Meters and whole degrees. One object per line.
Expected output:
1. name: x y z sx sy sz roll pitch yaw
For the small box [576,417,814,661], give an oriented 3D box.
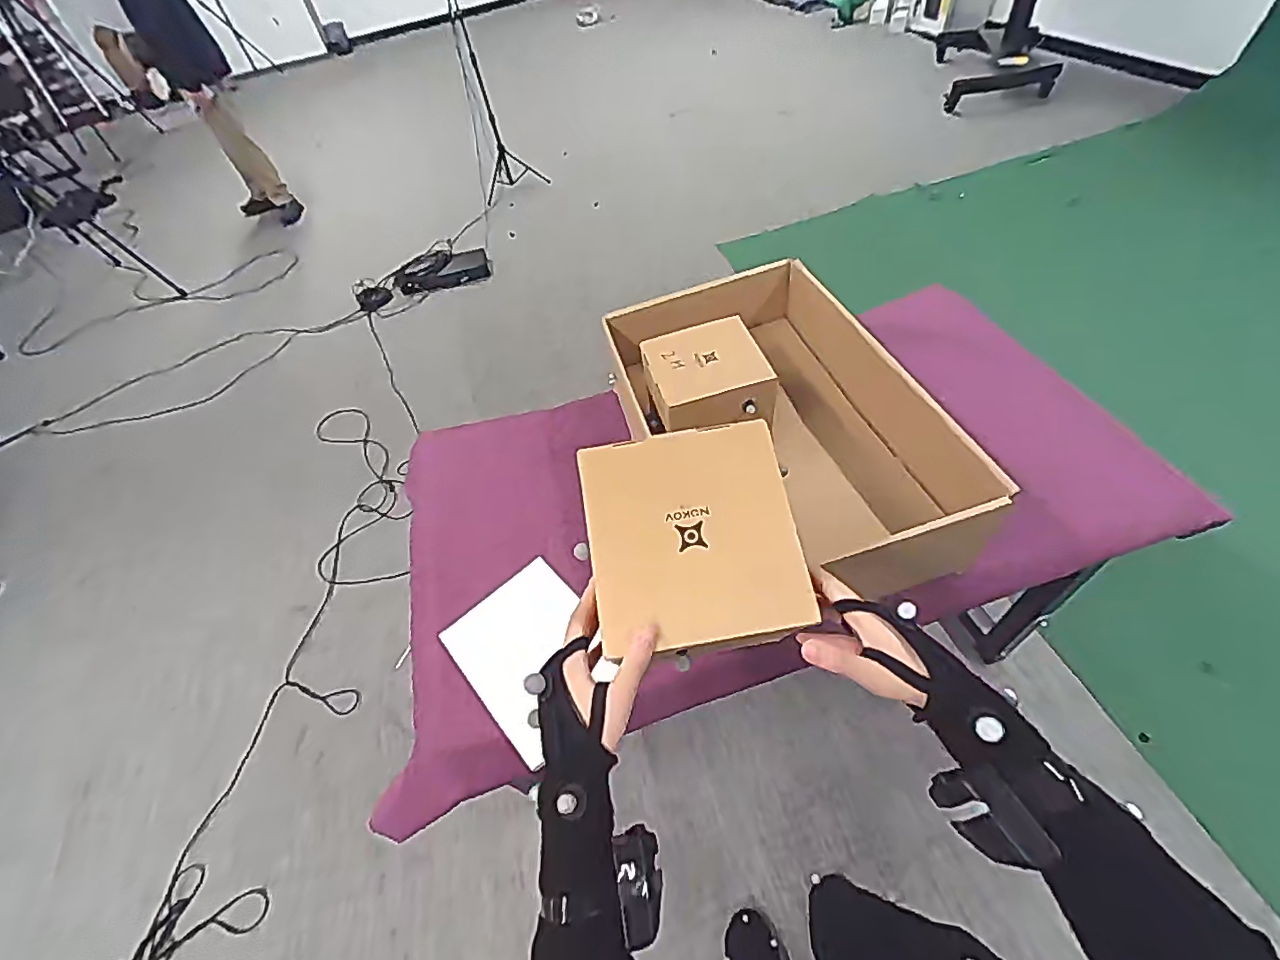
1. small box: 0.044 0.067 0.504 0.168 0.176 0.179 -10 68 0
